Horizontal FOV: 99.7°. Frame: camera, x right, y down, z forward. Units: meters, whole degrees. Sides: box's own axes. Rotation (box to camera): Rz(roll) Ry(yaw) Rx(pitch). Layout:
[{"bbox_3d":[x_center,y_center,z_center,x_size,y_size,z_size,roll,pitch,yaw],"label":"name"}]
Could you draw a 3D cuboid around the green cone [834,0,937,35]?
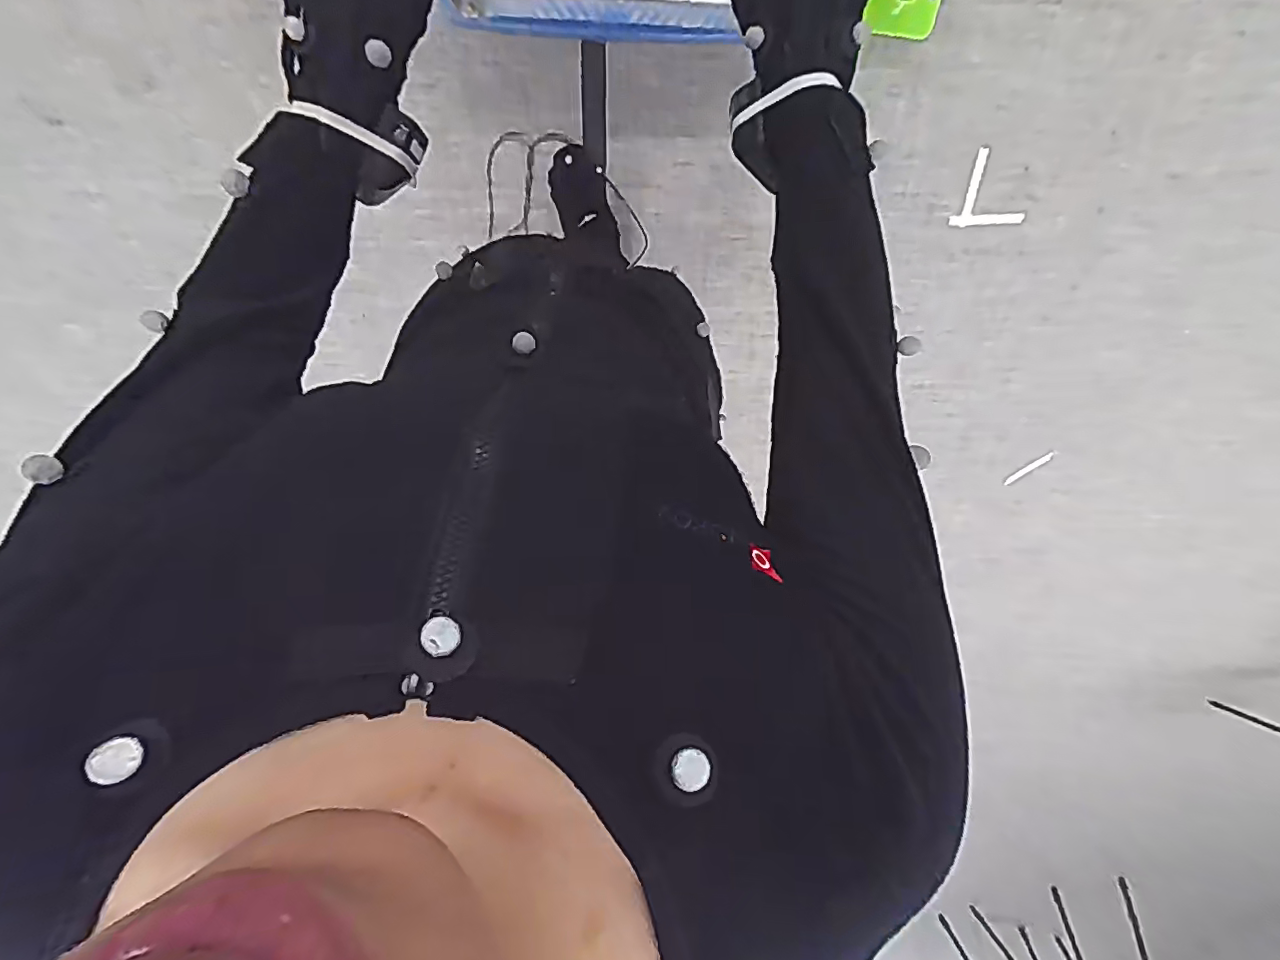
[{"bbox_3d":[0.489,-0.880,0.874,0.202,0.368,0.200,3,123,-5],"label":"green cone"}]
